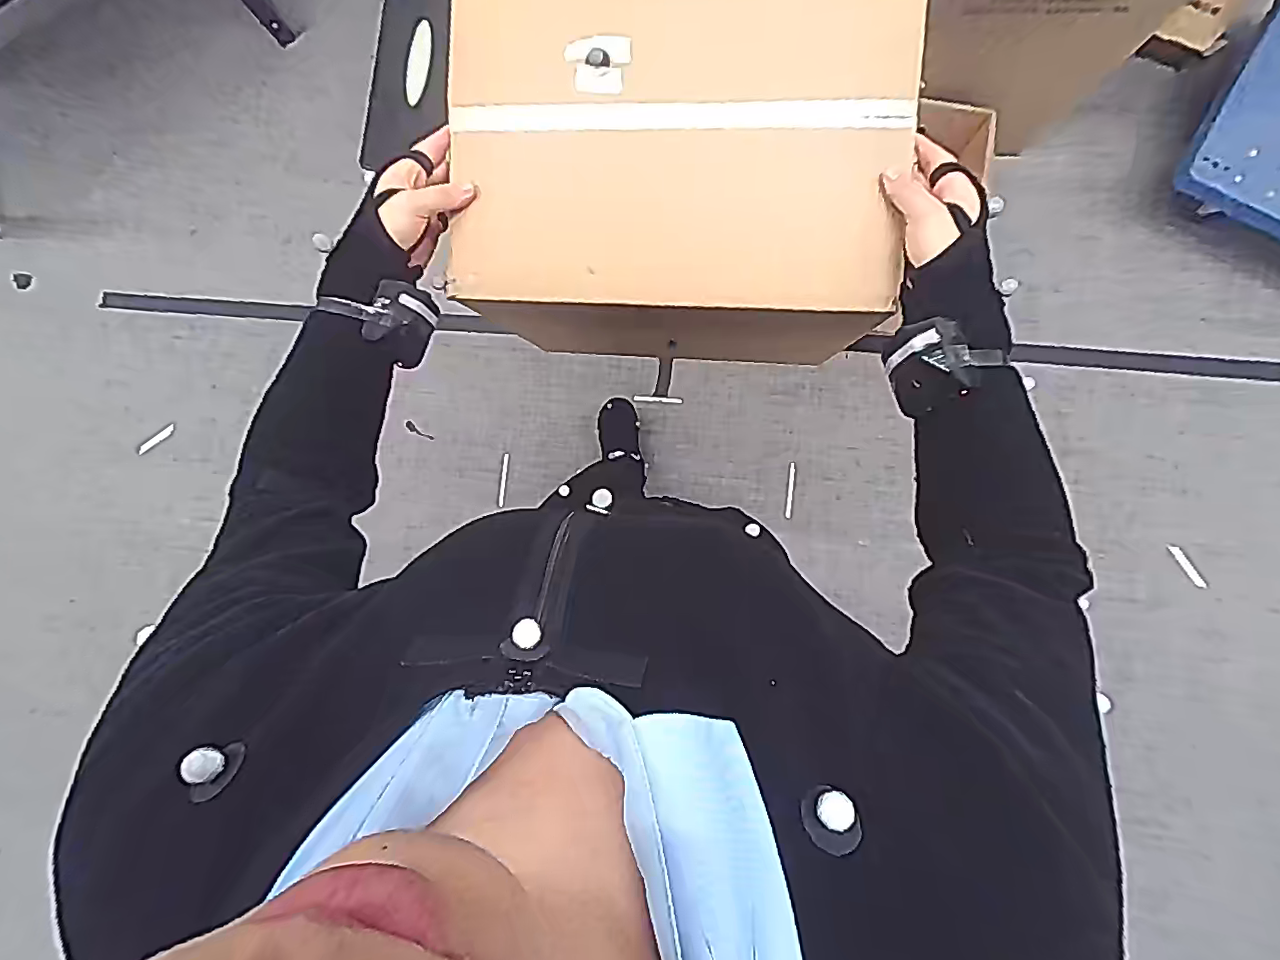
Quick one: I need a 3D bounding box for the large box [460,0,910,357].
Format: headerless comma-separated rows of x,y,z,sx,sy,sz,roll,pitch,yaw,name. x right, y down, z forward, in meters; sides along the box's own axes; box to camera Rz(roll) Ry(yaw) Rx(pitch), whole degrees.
0.048,-0.323,0.635,0.408,0.320,0.320,3,93,7,large box
